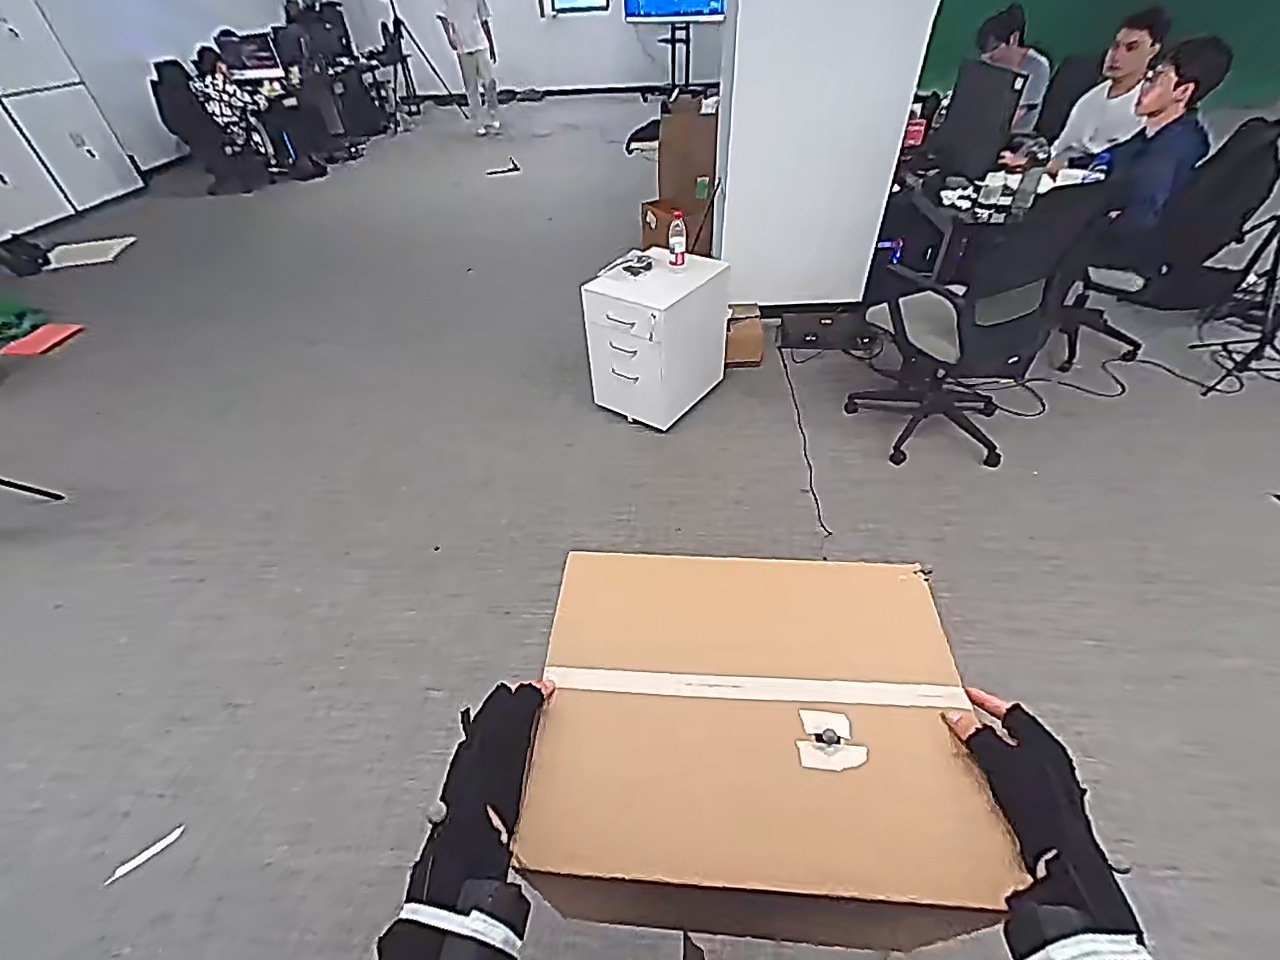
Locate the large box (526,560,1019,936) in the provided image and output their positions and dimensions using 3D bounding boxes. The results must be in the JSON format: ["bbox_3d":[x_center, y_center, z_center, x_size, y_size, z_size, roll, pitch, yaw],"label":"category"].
[{"bbox_3d":[0.114,0.314,0.642,0.408,0.320,0.320,2,46,5],"label":"large box"}]
